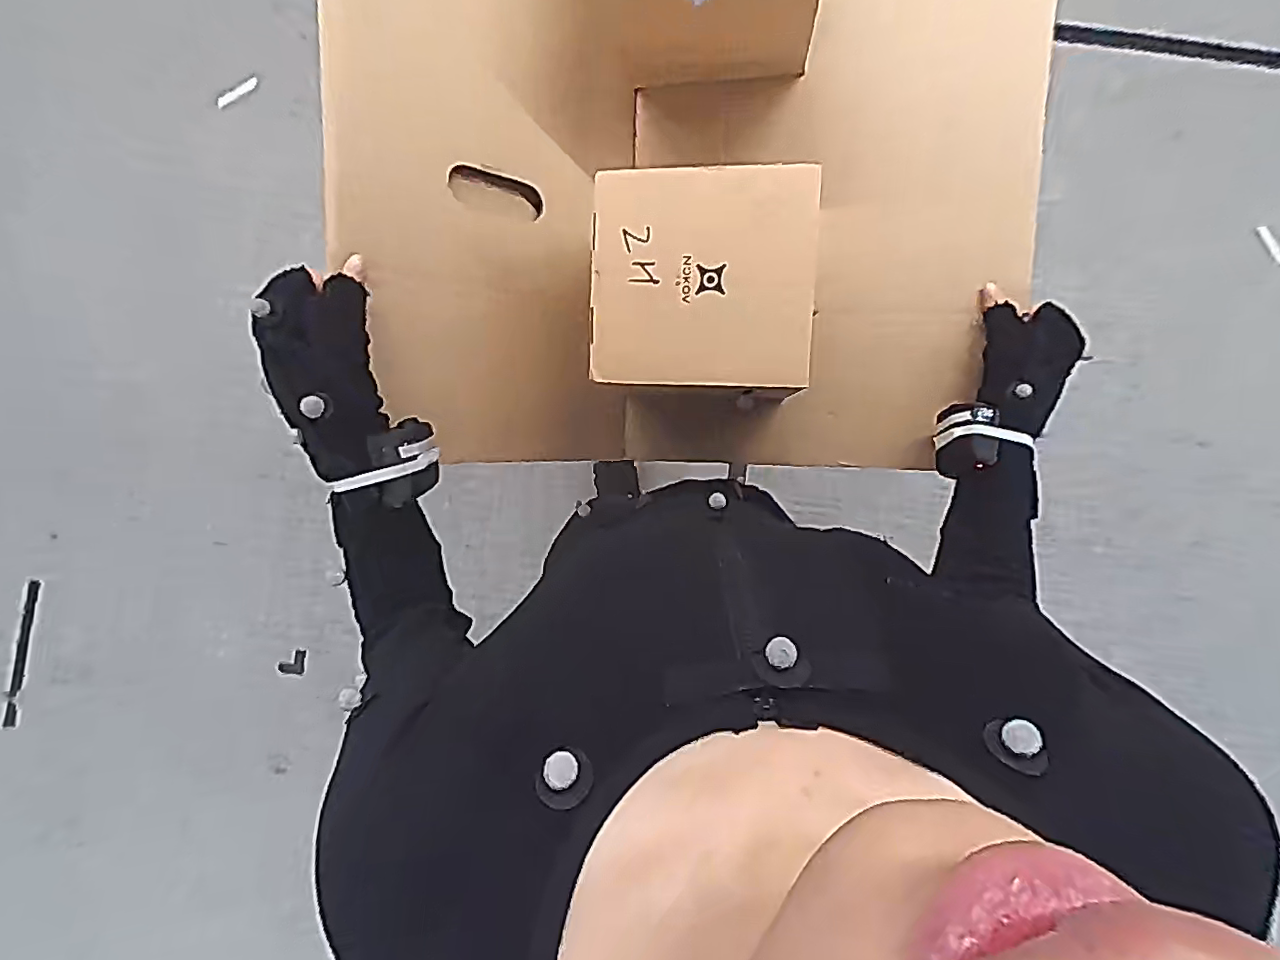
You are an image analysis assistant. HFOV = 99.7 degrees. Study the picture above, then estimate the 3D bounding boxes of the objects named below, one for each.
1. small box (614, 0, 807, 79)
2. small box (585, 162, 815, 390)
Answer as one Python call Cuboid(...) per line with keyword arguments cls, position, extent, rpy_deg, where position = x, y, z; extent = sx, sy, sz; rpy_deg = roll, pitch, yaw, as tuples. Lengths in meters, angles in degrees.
Cuboid(cls="small box", position=(0.063, -0.492, 0.477), extent=(0.179, 0.176, 0.168), rpy_deg=(2, 96, 8))
Cuboid(cls="small box", position=(0.055, -0.175, 0.509), extent=(0.179, 0.176, 0.168), rpy_deg=(4, 96, 9))
